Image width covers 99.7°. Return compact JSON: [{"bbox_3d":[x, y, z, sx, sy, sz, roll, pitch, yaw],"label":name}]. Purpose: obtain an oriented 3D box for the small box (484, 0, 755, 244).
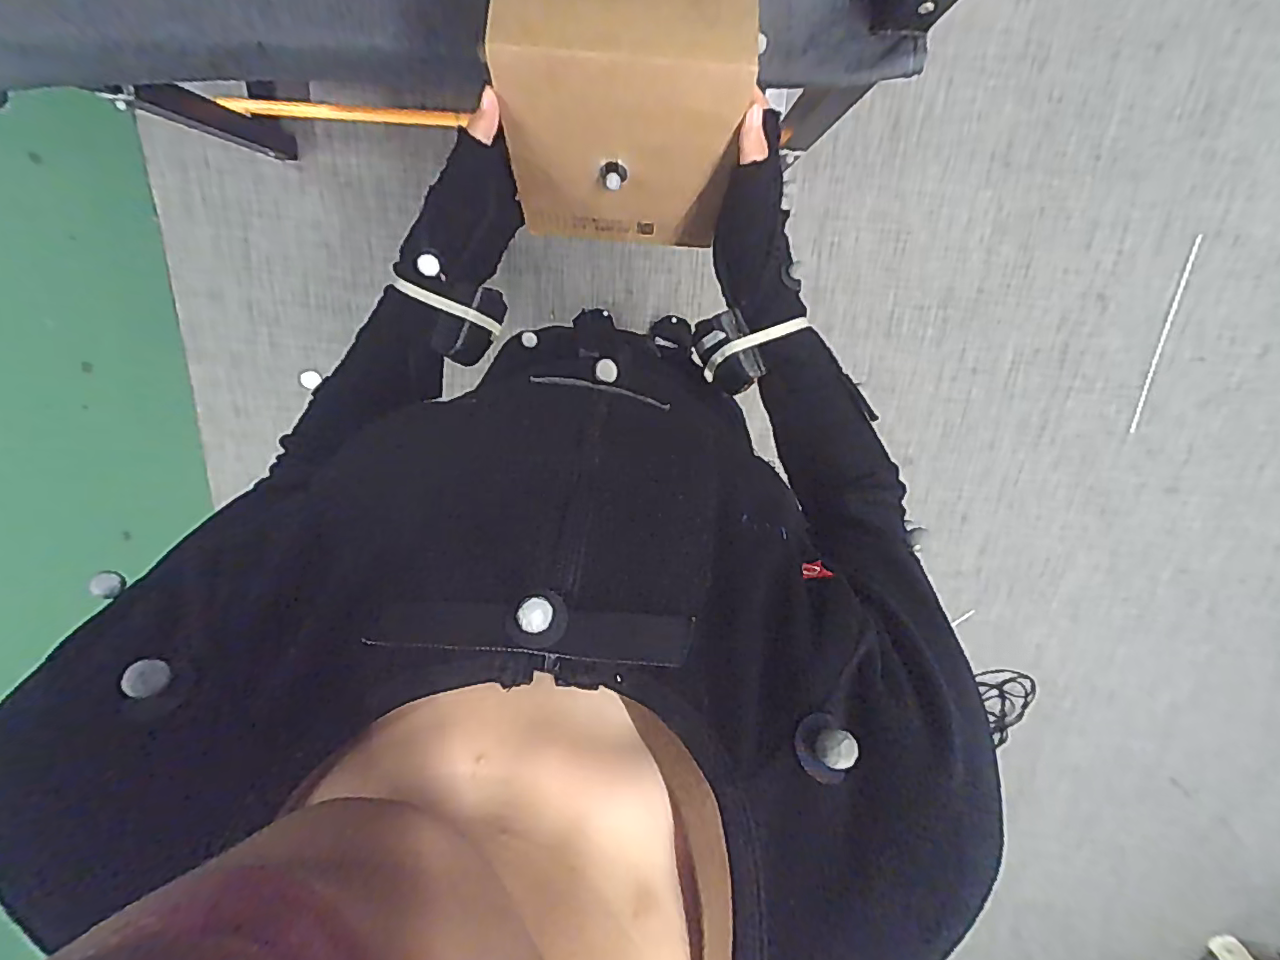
[{"bbox_3d":[-0.010,-0.312,0.420,0.168,0.176,0.179,4,75,-2],"label":"small box"}]
